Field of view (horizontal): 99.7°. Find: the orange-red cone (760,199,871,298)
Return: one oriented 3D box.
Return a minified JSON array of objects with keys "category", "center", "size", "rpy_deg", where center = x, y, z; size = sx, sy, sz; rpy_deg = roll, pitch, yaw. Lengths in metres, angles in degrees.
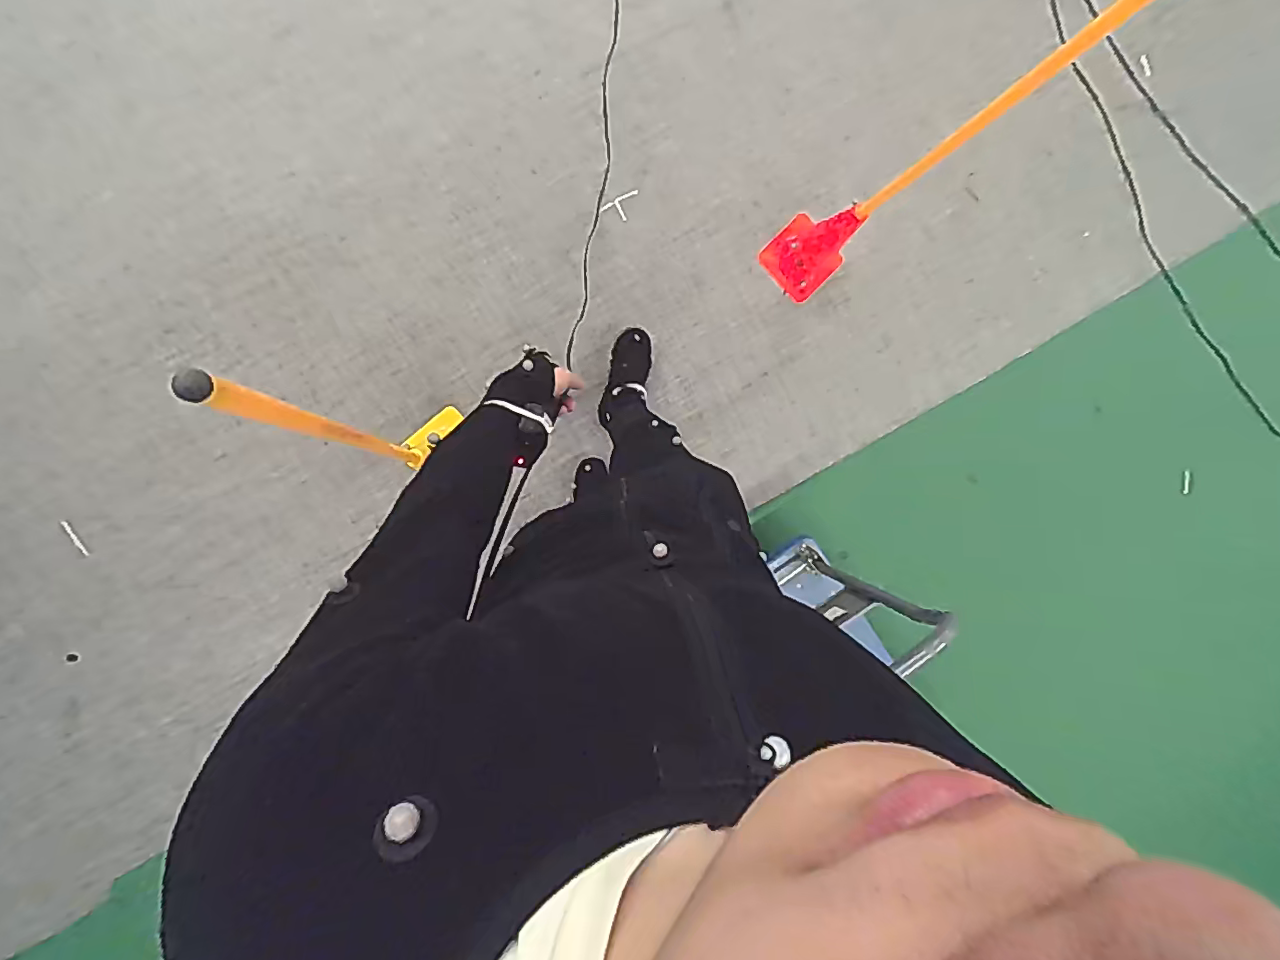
[{"category":"orange-red cone","center":[0.500,-0.657,1.437],"size":[0.199,0.360,0.198],"rpy_deg":[-44,99,-3]}]
